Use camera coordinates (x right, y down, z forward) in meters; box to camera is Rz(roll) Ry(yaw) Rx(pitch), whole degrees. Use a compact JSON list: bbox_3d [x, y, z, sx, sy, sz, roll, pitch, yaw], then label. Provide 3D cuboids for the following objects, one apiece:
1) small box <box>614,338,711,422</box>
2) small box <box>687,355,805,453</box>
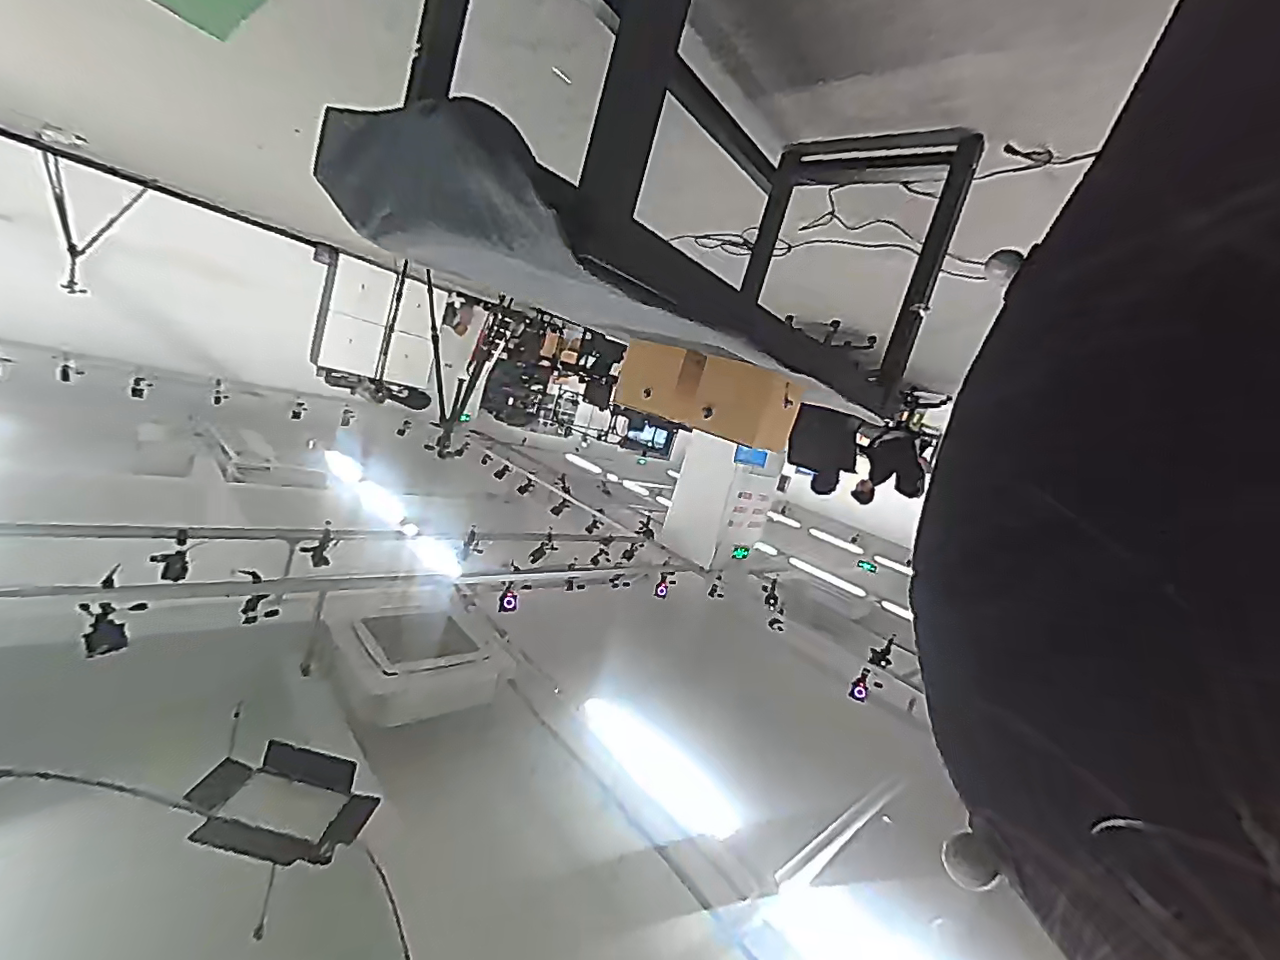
[{"bbox_3d":[0.066,-0.245,1.341,0.179,0.176,0.168,22,-169,36],"label":"small box"},{"bbox_3d":[0.238,-0.173,1.209,0.179,0.176,0.168,23,-169,36],"label":"small box"}]
